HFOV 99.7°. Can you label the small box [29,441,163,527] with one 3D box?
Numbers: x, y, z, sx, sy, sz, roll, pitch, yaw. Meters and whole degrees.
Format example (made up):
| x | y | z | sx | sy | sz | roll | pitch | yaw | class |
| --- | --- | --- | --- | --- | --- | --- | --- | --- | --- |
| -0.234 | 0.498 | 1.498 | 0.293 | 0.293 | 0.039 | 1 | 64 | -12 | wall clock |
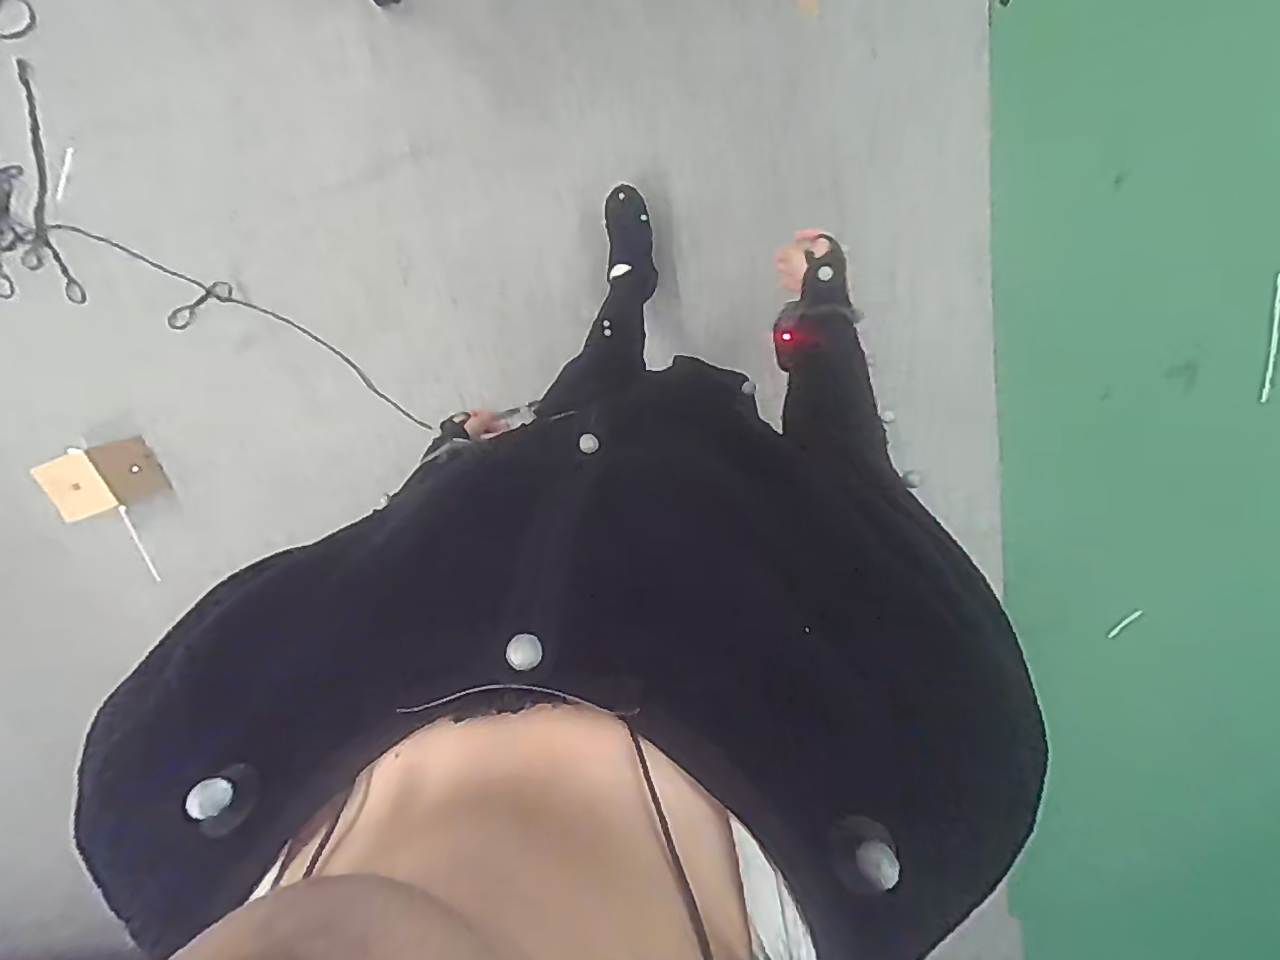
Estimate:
| x | y | z | sx | sy | sz | roll | pitch | yaw | class |
| --- | --- | --- | --- | --- | --- | --- | --- | --- | --- |
| -1.487 | 0.005 | 1.498 | 0.179 | 0.176 | 0.168 | -17 | 106 | 8 | small box |
